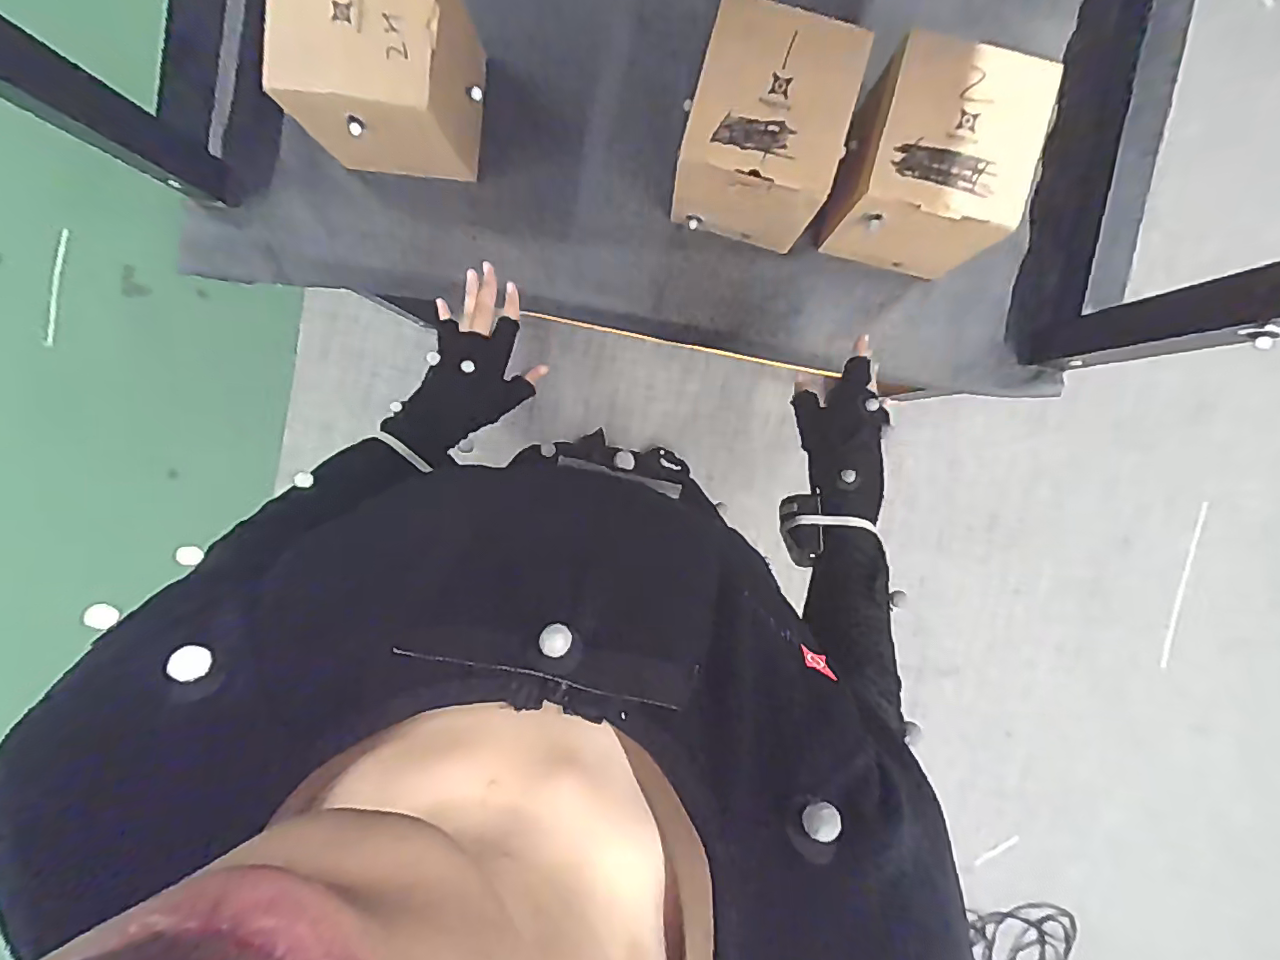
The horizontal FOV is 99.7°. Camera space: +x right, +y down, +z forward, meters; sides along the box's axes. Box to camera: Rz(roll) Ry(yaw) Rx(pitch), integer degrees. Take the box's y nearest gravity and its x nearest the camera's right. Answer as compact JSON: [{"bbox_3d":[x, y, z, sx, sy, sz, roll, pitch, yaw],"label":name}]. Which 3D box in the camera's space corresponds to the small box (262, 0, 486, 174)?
[{"bbox_3d":[-0.297,-0.488,0.635,0.179,0.176,0.168,6,95,-1],"label":"small box"}]
